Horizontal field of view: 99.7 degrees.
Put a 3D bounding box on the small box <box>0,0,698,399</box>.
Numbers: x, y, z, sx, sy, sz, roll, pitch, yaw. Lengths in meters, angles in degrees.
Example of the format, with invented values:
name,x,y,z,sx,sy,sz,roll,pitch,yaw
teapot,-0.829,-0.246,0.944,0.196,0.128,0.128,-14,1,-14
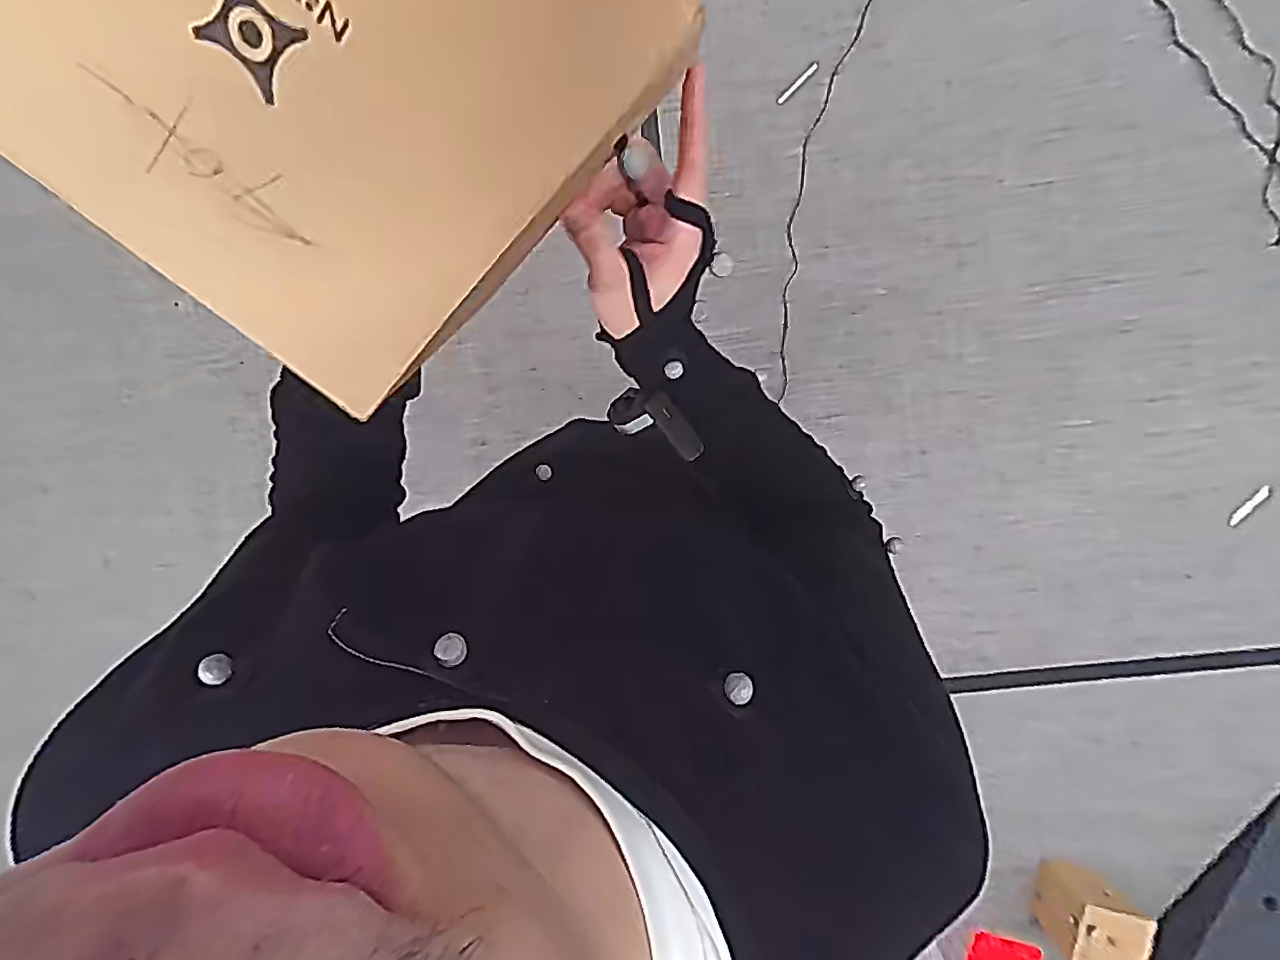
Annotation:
name,x,y,z,sx,sy,sz,roll,pitch,yaw
small box,-0.097,-0.173,0.222,0.168,0.176,0.179,41,116,-20
